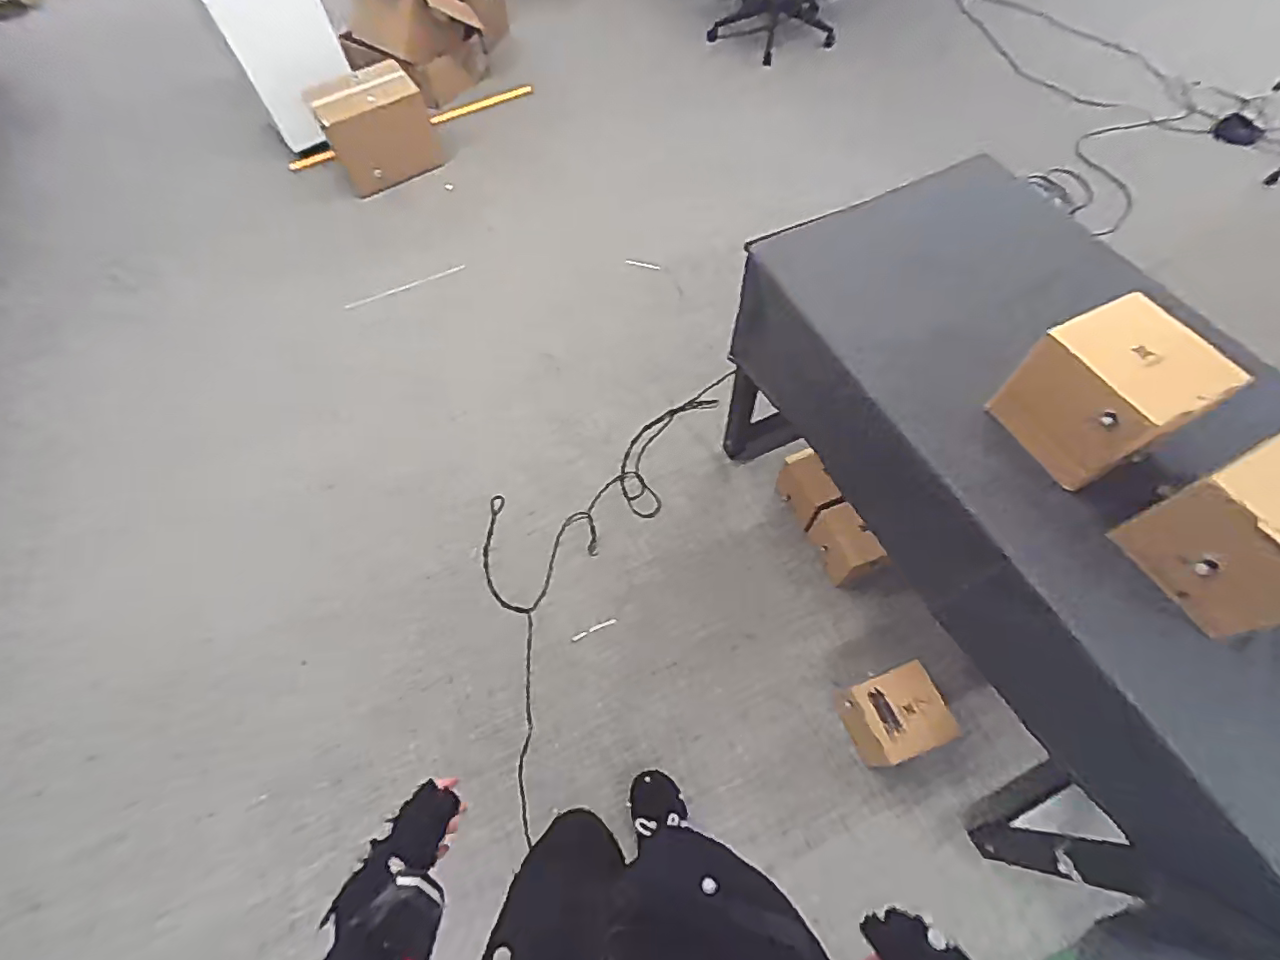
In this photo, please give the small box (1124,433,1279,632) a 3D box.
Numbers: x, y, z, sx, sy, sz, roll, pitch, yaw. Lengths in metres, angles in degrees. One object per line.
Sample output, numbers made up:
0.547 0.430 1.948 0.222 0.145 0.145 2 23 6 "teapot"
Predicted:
0.756 0.062 0.657 0.179 0.176 0.168 -25 63 -11 "small box"
